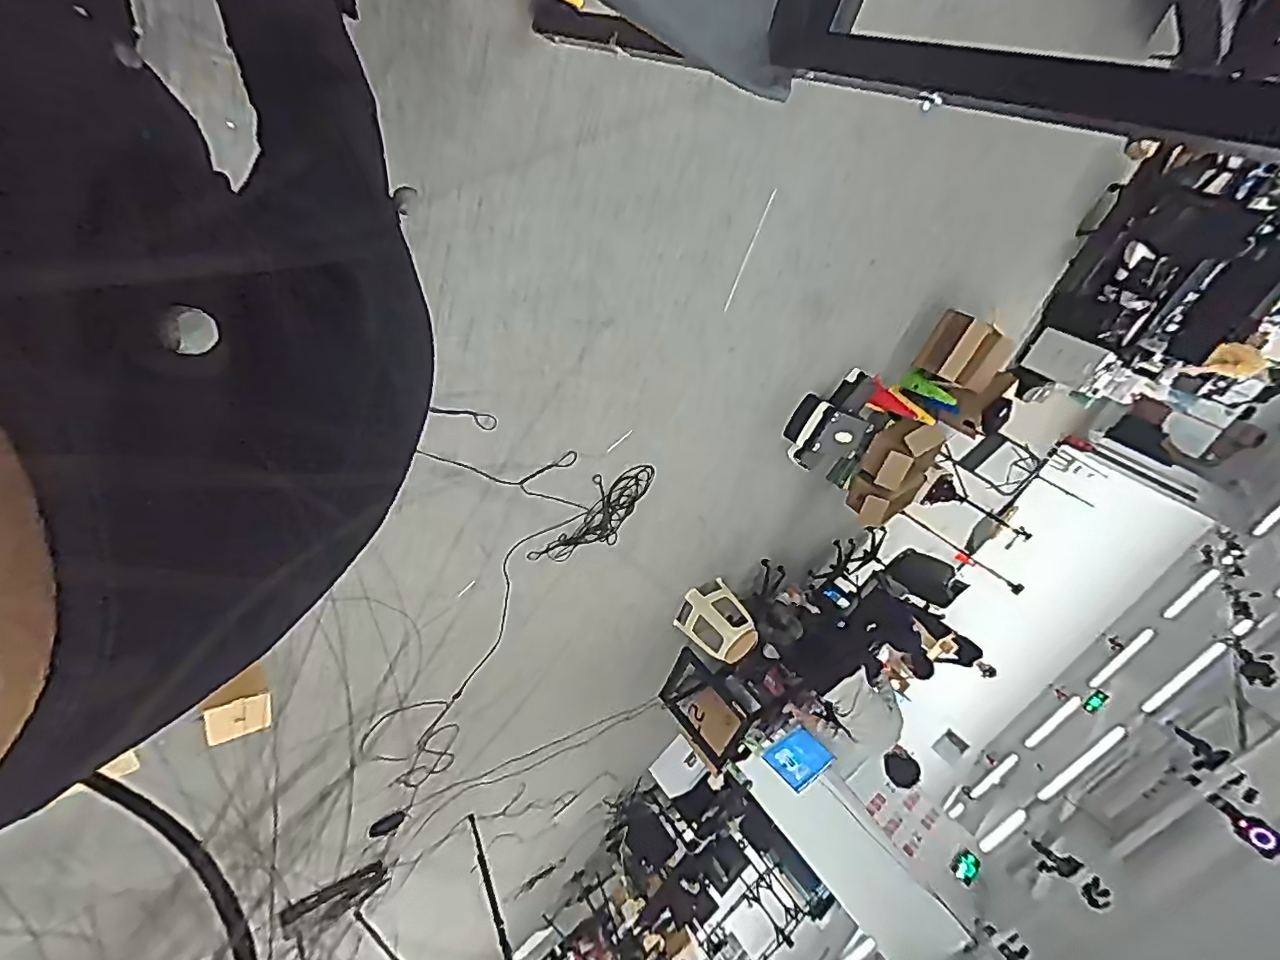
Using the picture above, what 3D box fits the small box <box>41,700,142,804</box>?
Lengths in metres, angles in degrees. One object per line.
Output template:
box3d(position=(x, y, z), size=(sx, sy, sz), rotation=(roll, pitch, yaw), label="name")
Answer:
box3d(position=(-1.519, 0.741, 1.500), size=(0.168, 0.176, 0.179), rotation=(-13, 132, -38), label="small box")

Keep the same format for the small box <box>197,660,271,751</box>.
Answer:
box3d(position=(-1.286, 0.708, 1.714), size=(0.168, 0.176, 0.179), rotation=(-10, 129, -42), label="small box")
